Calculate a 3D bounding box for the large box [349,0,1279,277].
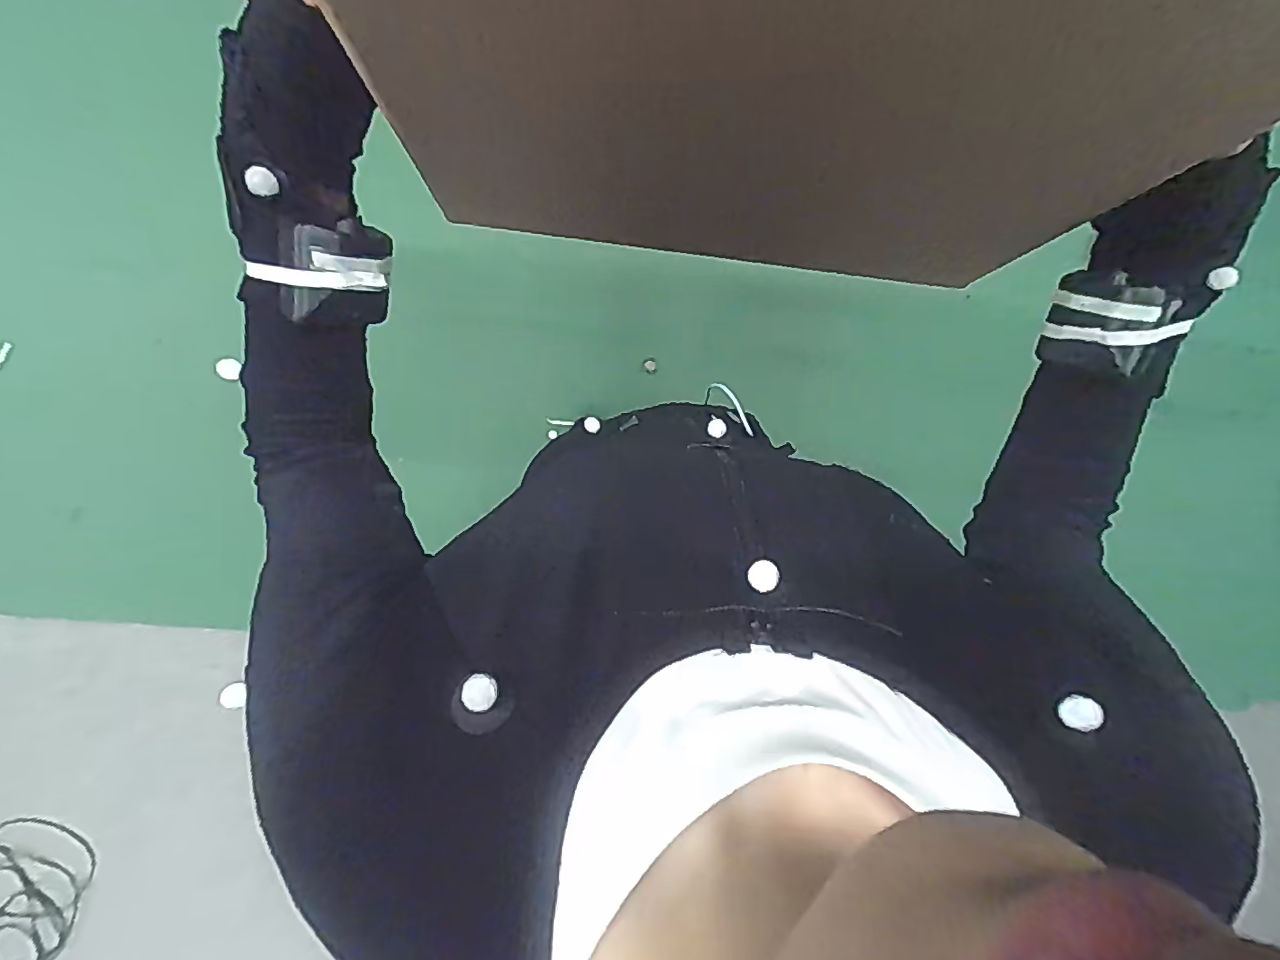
[{"bbox_3d":[0.084,-0.327,0.267,0.408,0.320,0.320,6,90,-5],"label":"large box"}]
